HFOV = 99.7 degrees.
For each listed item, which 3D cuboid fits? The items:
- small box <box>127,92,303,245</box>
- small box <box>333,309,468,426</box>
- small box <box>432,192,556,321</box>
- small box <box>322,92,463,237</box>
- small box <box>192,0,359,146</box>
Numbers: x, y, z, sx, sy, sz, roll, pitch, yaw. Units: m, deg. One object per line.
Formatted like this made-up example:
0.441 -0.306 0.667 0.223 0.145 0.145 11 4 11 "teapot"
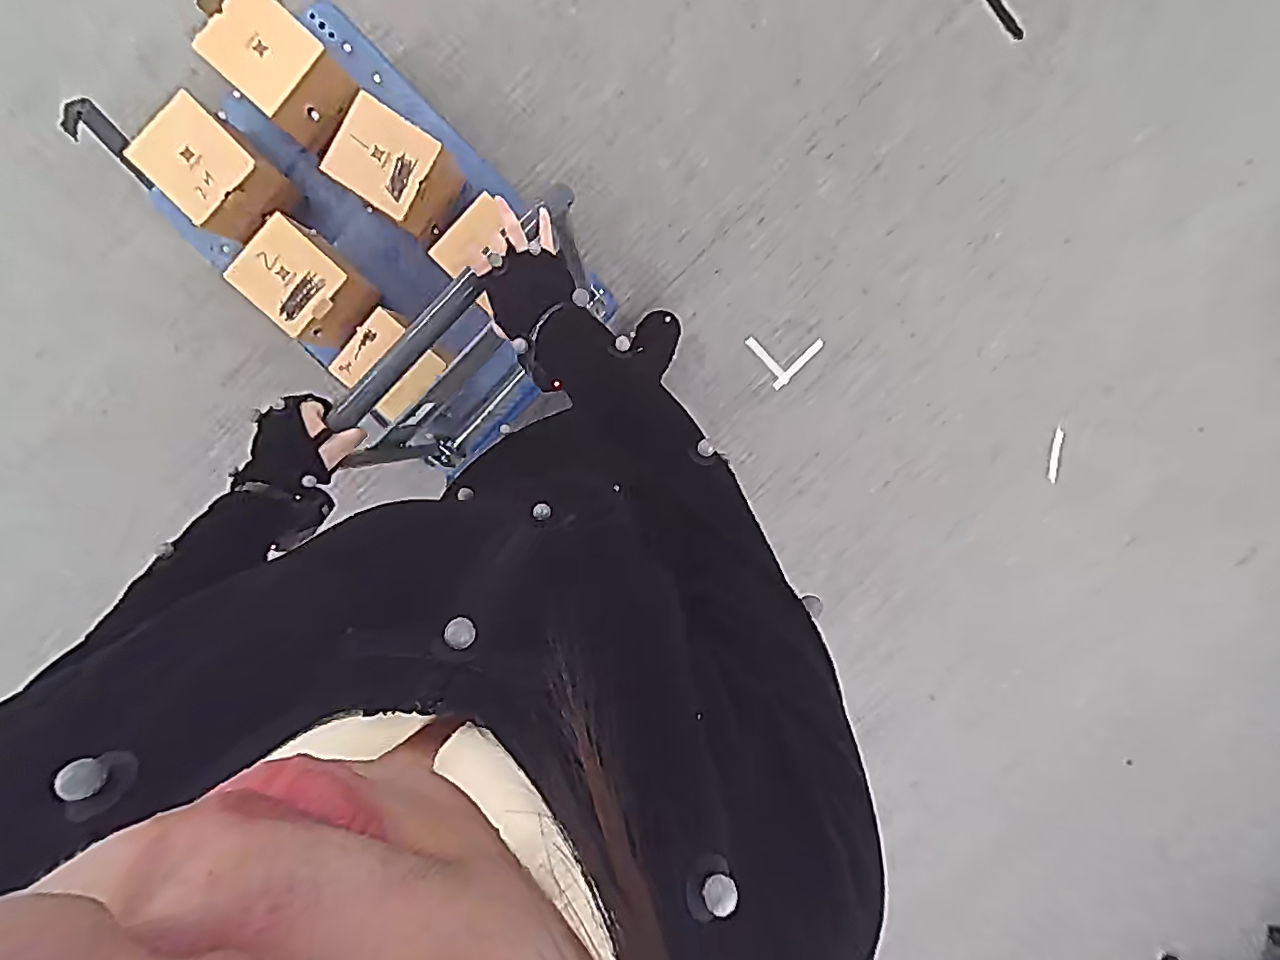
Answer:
-0.828 -0.602 1.074 0.168 0.176 0.179 -44 100 4 "small box"
-0.498 -0.237 1.155 0.179 0.176 0.168 40 94 -9 "small box"
-0.293 -0.453 1.134 0.179 0.176 0.168 44 94 -8 "small box"
-0.487 -0.619 1.094 0.179 0.176 0.168 31 96 -7 "small box"
-0.692 -0.793 1.053 0.179 0.176 0.168 41 95 -9 "small box"
